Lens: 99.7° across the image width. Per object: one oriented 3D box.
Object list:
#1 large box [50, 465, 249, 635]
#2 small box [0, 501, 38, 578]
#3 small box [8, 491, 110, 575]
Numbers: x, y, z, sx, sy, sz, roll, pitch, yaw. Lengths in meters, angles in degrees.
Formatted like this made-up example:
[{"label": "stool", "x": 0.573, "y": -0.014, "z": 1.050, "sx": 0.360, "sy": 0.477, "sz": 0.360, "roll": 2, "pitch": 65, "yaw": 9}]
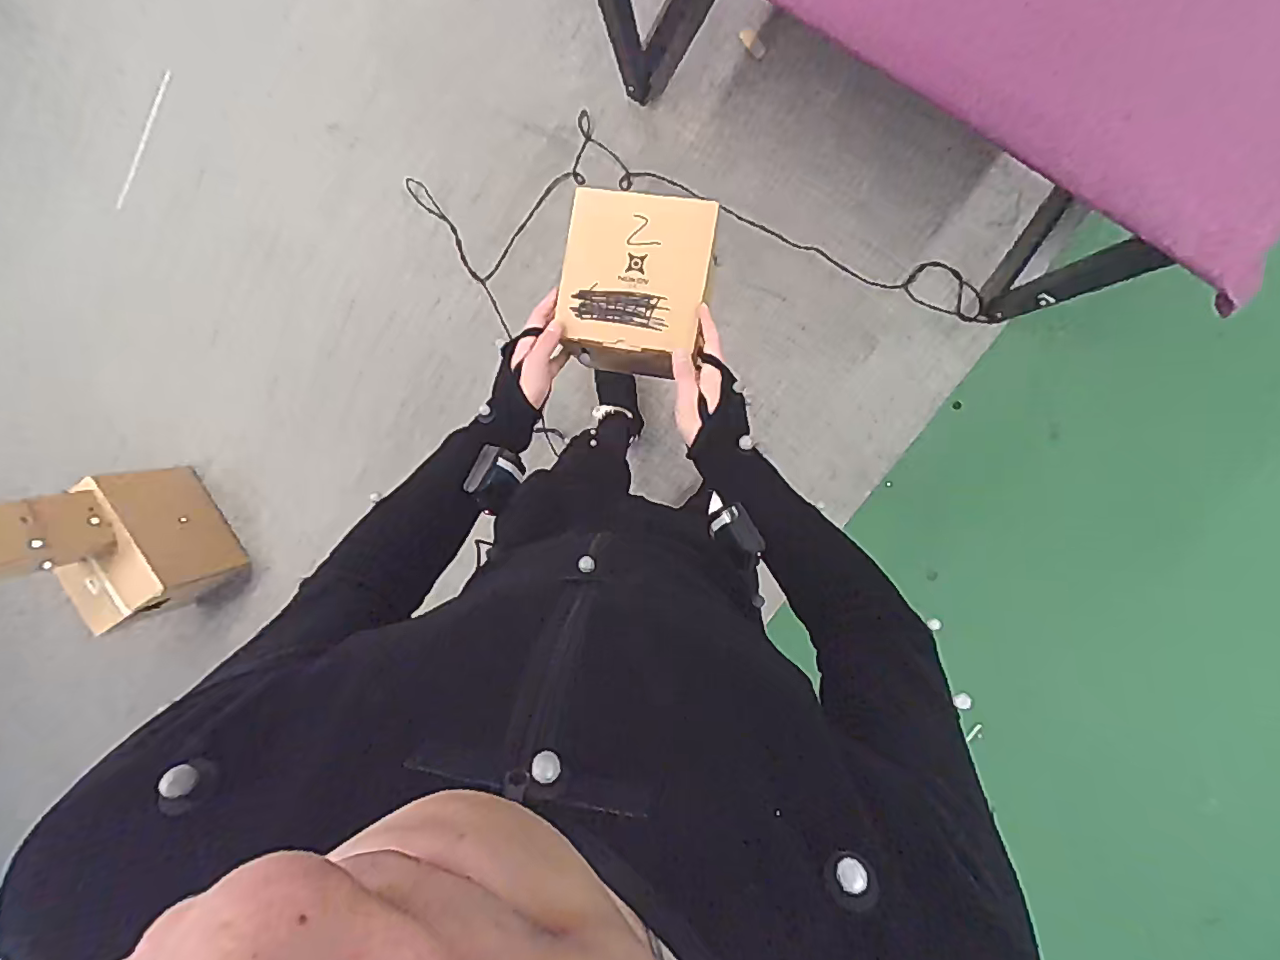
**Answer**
[{"label": "large box", "x": -1.606, "y": 0.208, "z": 1.752, "sx": 0.320, "sy": 0.320, "sz": 0.408, "roll": -32, "pitch": 93, "yaw": 12}, {"label": "small box", "x": -1.668, "y": 0.165, "z": 1.340, "sx": 0.179, "sy": 0.176, "sz": 0.168, "roll": -25, "pitch": 94, "yaw": 10}, {"label": "small box", "x": -1.654, "y": 0.144, "z": 1.501, "sx": 0.179, "sy": 0.176, "sz": 0.168, "roll": -25, "pitch": 94, "yaw": 9}]
